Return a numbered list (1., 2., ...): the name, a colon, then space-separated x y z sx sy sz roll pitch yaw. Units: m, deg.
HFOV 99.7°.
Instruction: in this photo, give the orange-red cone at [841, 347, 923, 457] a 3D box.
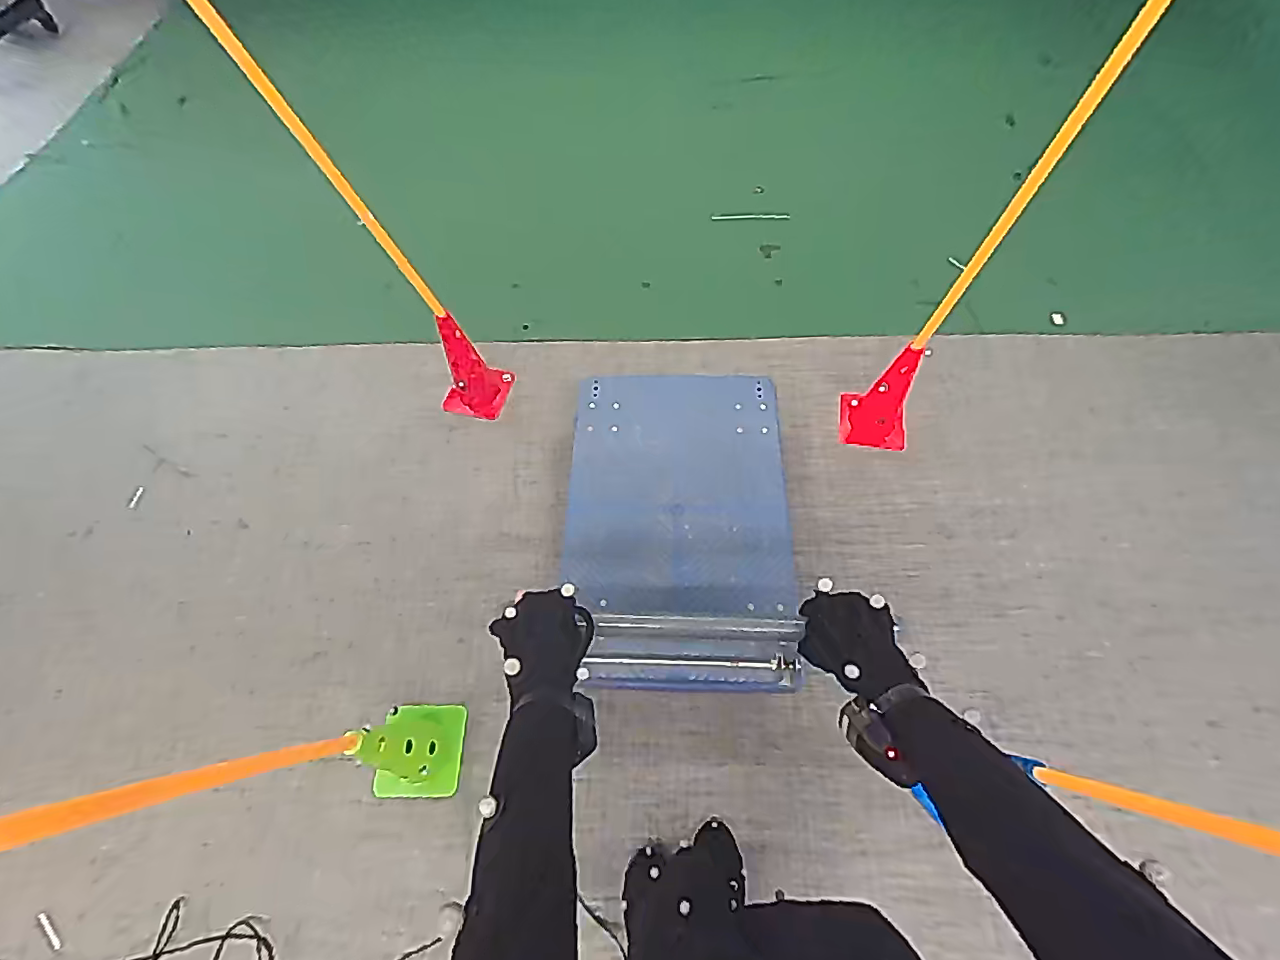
1. orange-red cone: 0.732 -0.247 1.564 0.198 0.360 0.199 9 63 8
